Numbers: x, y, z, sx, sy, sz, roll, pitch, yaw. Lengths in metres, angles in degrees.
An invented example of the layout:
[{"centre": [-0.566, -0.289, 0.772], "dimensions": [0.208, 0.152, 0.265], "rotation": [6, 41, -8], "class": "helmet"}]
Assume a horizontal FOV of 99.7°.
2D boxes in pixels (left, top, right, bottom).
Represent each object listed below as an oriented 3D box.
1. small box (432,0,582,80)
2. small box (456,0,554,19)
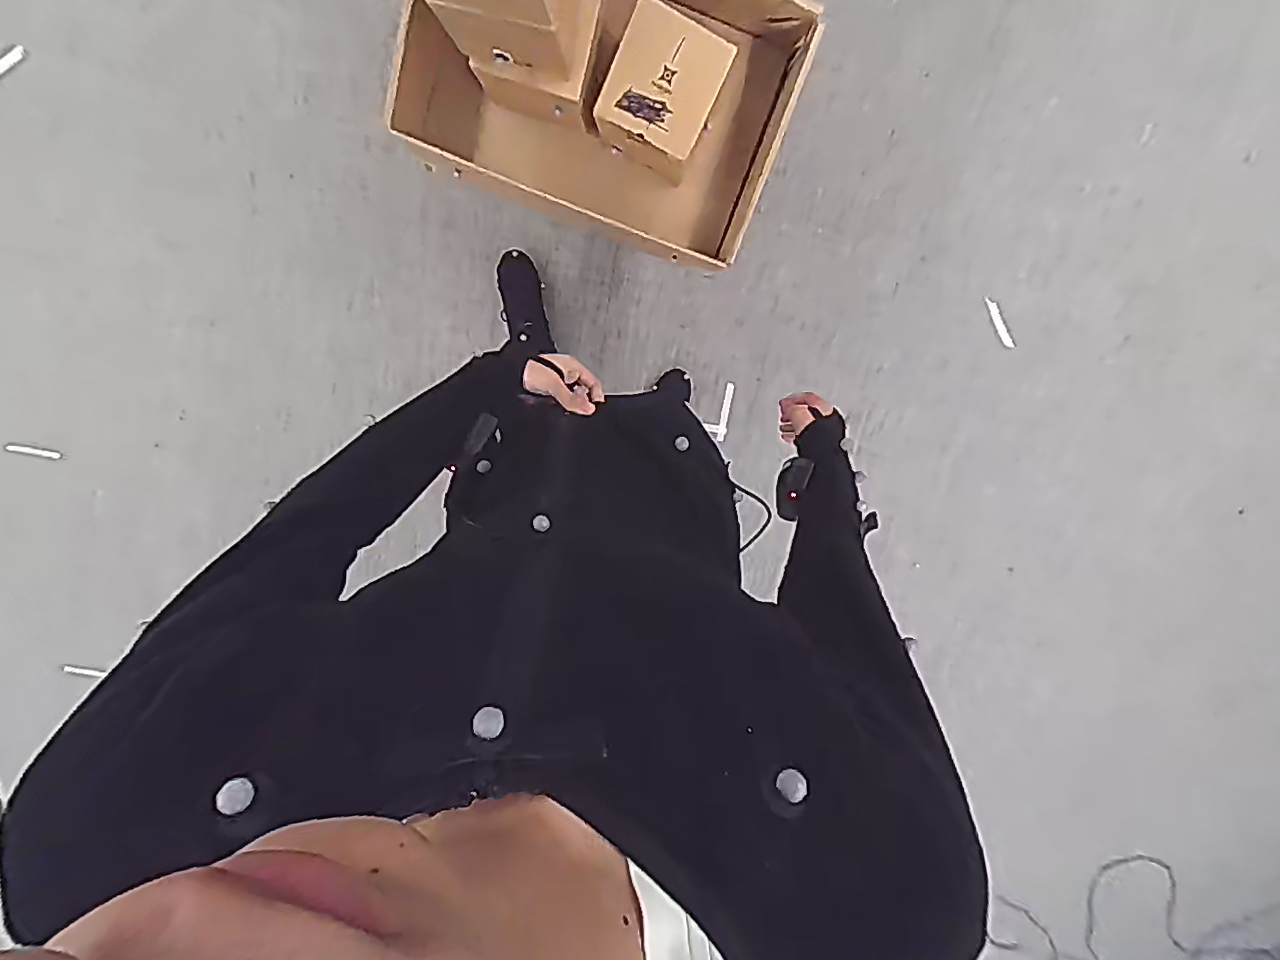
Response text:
[{"centre": [-0.169, -0.678, 0.717], "dimensions": [0.168, 0.176, 0.179], "rotation": [10, 108, -4], "class": "small box"}, {"centre": [-0.179, -0.628, 0.561], "dimensions": [0.179, 0.176, 0.168], "rotation": [11, 108, -4], "class": "small box"}]
